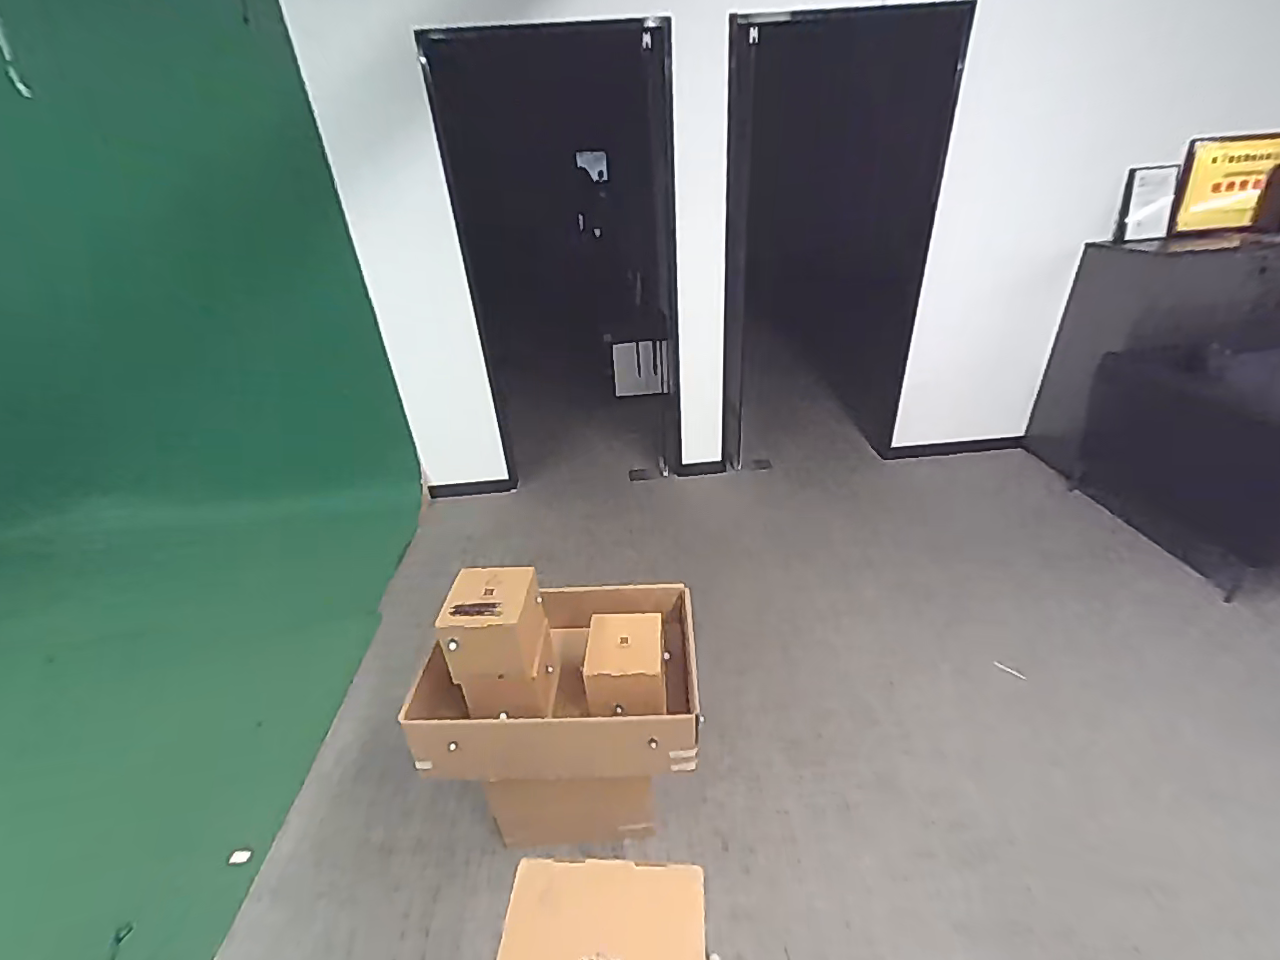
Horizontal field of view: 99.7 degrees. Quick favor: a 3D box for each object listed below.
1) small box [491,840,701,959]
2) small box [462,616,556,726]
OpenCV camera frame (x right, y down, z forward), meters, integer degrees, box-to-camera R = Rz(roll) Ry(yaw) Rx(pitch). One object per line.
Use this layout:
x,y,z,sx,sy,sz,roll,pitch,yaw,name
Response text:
-0.031,0.443,0.457,0.168,0.176,0.179,-1,33,6,small box
-0.292,0.441,1.254,0.168,0.176,0.179,-3,31,2,small box
